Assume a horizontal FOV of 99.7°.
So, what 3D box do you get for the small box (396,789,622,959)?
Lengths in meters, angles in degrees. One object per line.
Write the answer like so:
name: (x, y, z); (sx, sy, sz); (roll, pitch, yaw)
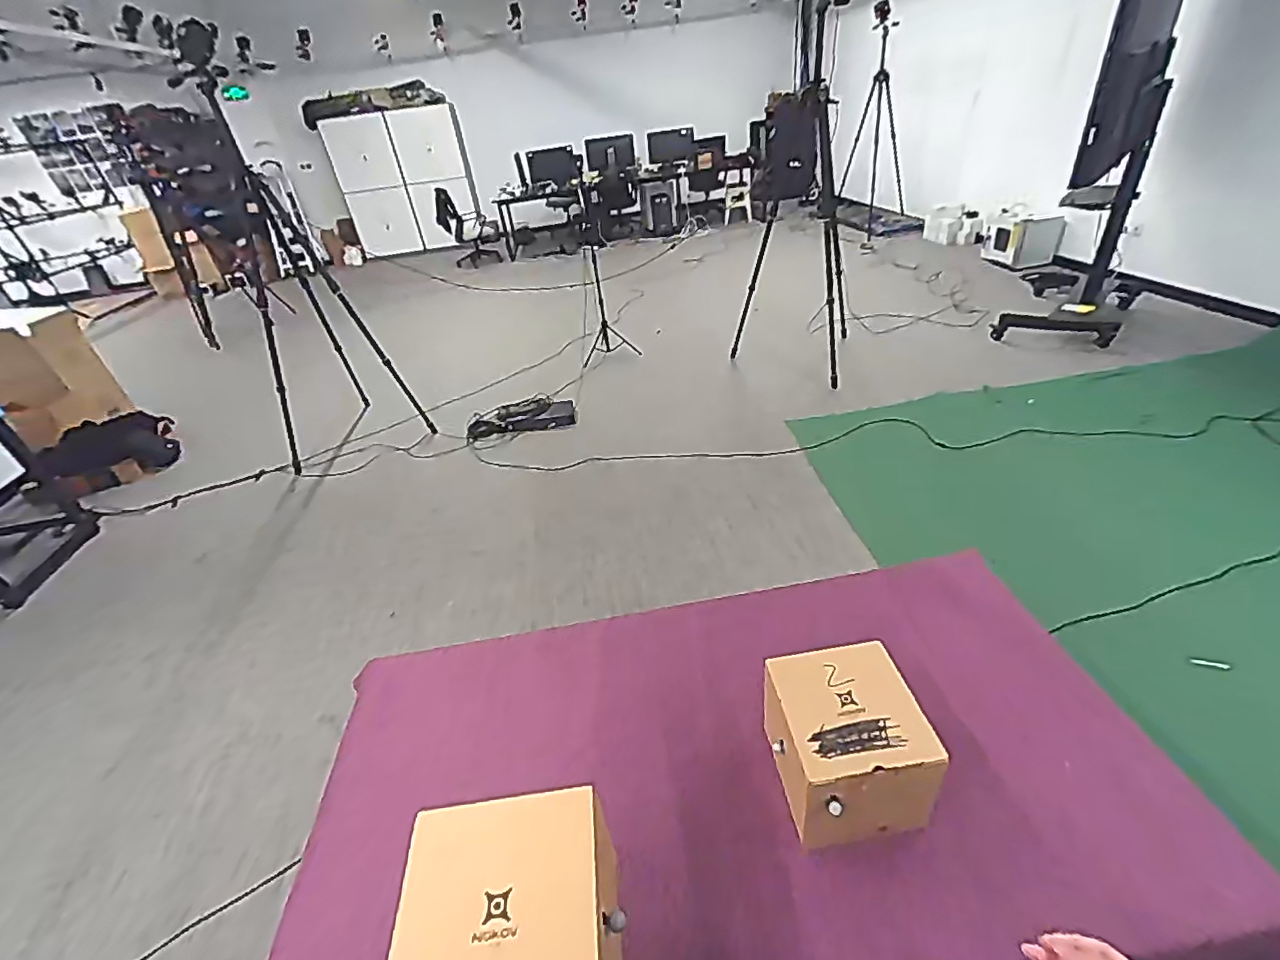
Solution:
small box: (-0.108, 0.422, 0.498); (0.168, 0.176, 0.179); (-9, 38, -2)
